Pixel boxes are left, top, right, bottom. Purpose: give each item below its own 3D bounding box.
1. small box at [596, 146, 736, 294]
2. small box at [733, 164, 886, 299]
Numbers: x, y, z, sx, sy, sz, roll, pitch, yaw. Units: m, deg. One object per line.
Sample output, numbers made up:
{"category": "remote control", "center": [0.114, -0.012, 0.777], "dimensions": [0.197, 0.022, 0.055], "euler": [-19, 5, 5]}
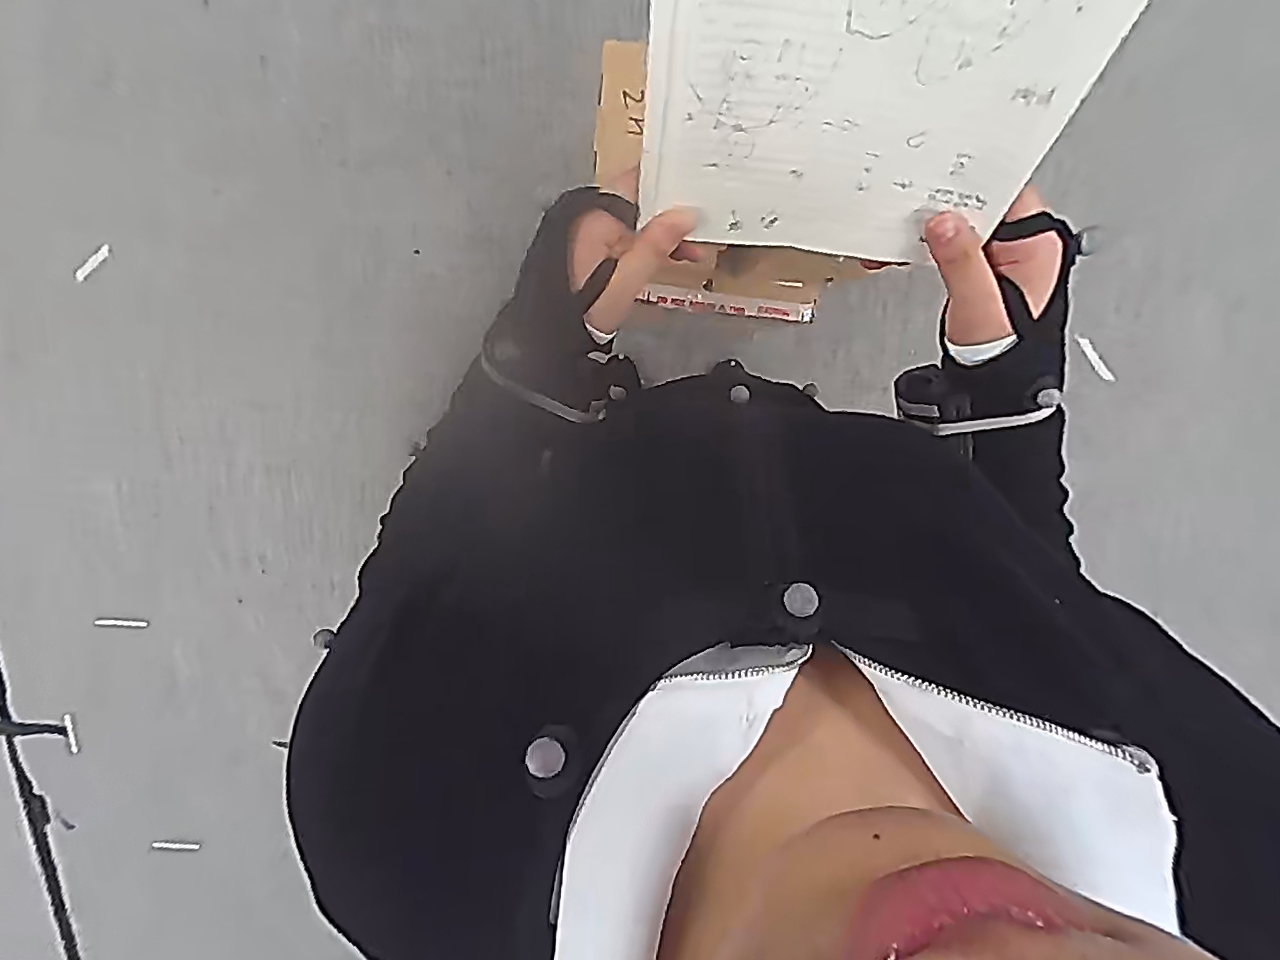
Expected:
{"category": "small box", "center": [0.038, -0.392, 0.847], "dimensions": [0.179, 0.176, 0.168], "euler": [10, 105, 0]}
{"category": "small box", "center": [0.254, -0.378, 0.850], "dimensions": [0.179, 0.176, 0.168], "euler": [1, 104, -1]}
